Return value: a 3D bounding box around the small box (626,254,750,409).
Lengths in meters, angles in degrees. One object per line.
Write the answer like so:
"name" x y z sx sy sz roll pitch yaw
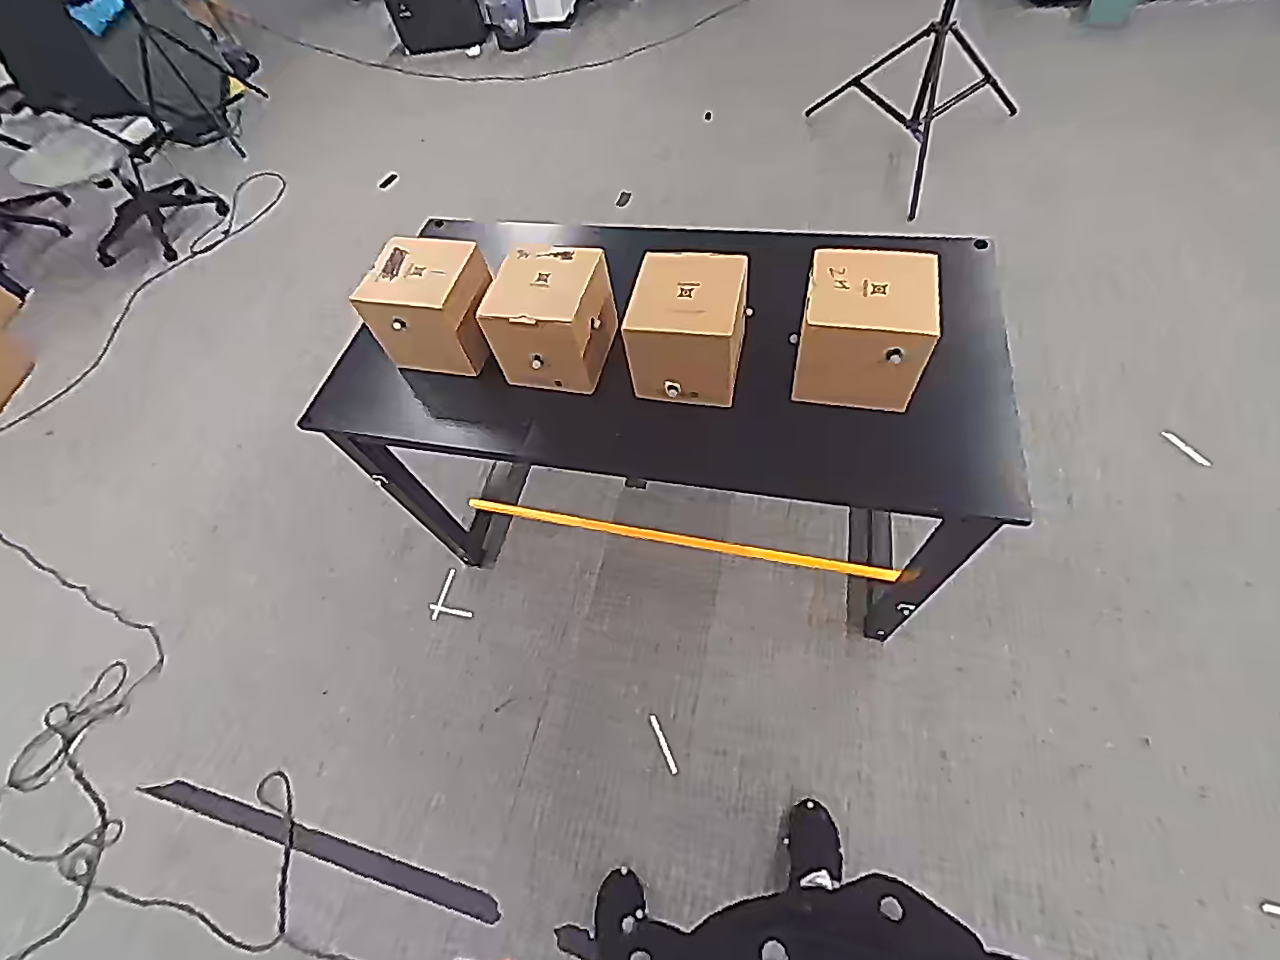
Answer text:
"small box" 0.085 -0.243 0.891 0.168 0.176 0.179 7 62 13

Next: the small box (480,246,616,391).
"small box" -0.146 -0.275 0.939 0.168 0.176 0.179 9 62 12

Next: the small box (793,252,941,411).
"small box" 0.345 -0.226 0.841 0.179 0.176 0.168 9 61 14

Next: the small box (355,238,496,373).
"small box" -0.368 -0.316 0.993 0.179 0.176 0.168 9 62 12
